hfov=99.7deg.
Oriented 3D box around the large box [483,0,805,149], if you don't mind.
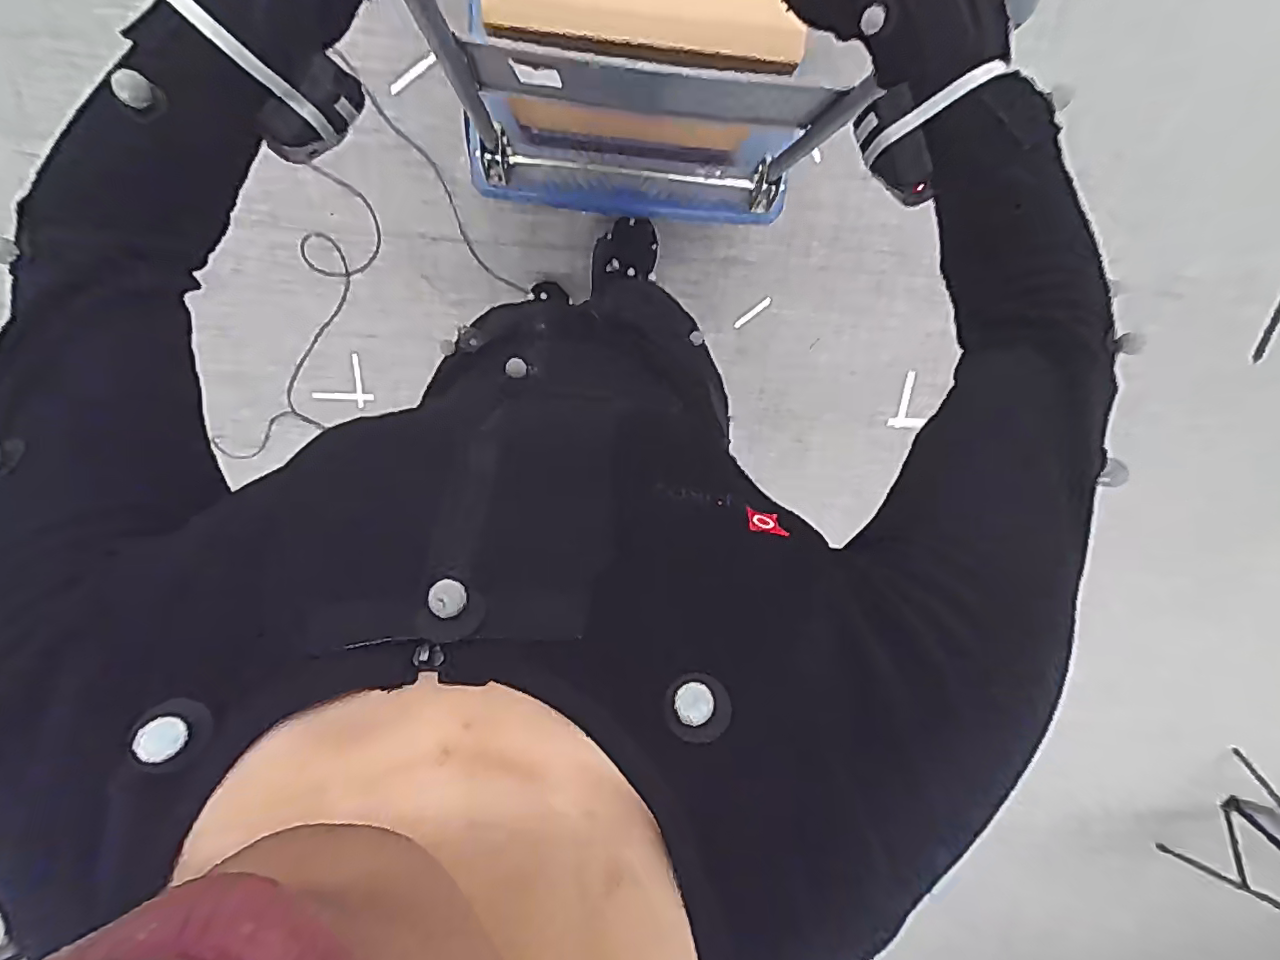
[{"bbox_3d":[-0.002,-0.715,0.780,0.408,0.320,0.320,2,104,-7],"label":"large box"}]
